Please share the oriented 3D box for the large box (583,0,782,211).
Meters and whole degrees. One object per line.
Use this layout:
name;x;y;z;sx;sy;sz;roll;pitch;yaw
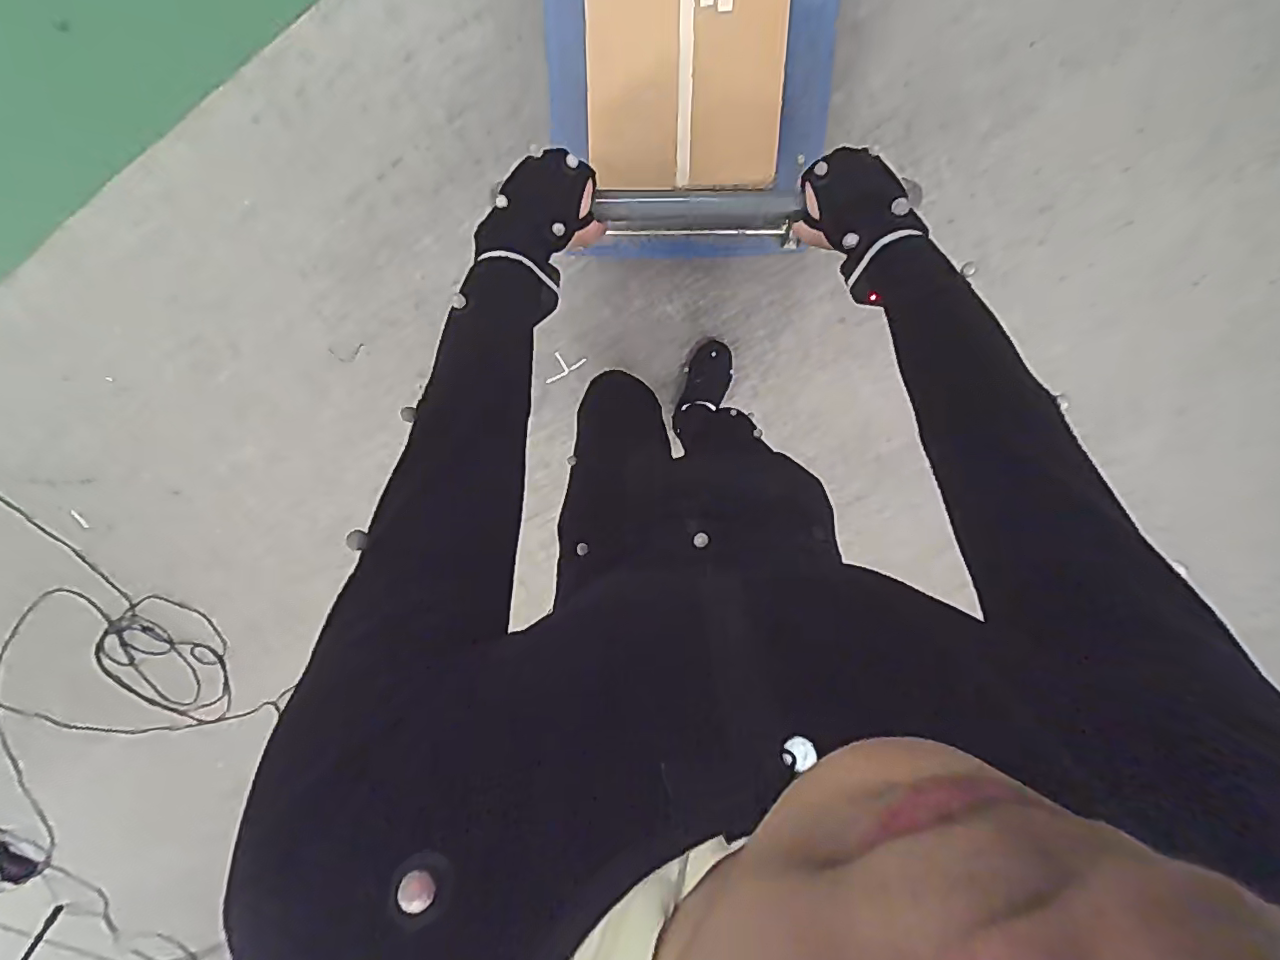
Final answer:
large box;0.076;-0.738;1.000;0.320;0.320;0.408;2;111;3
